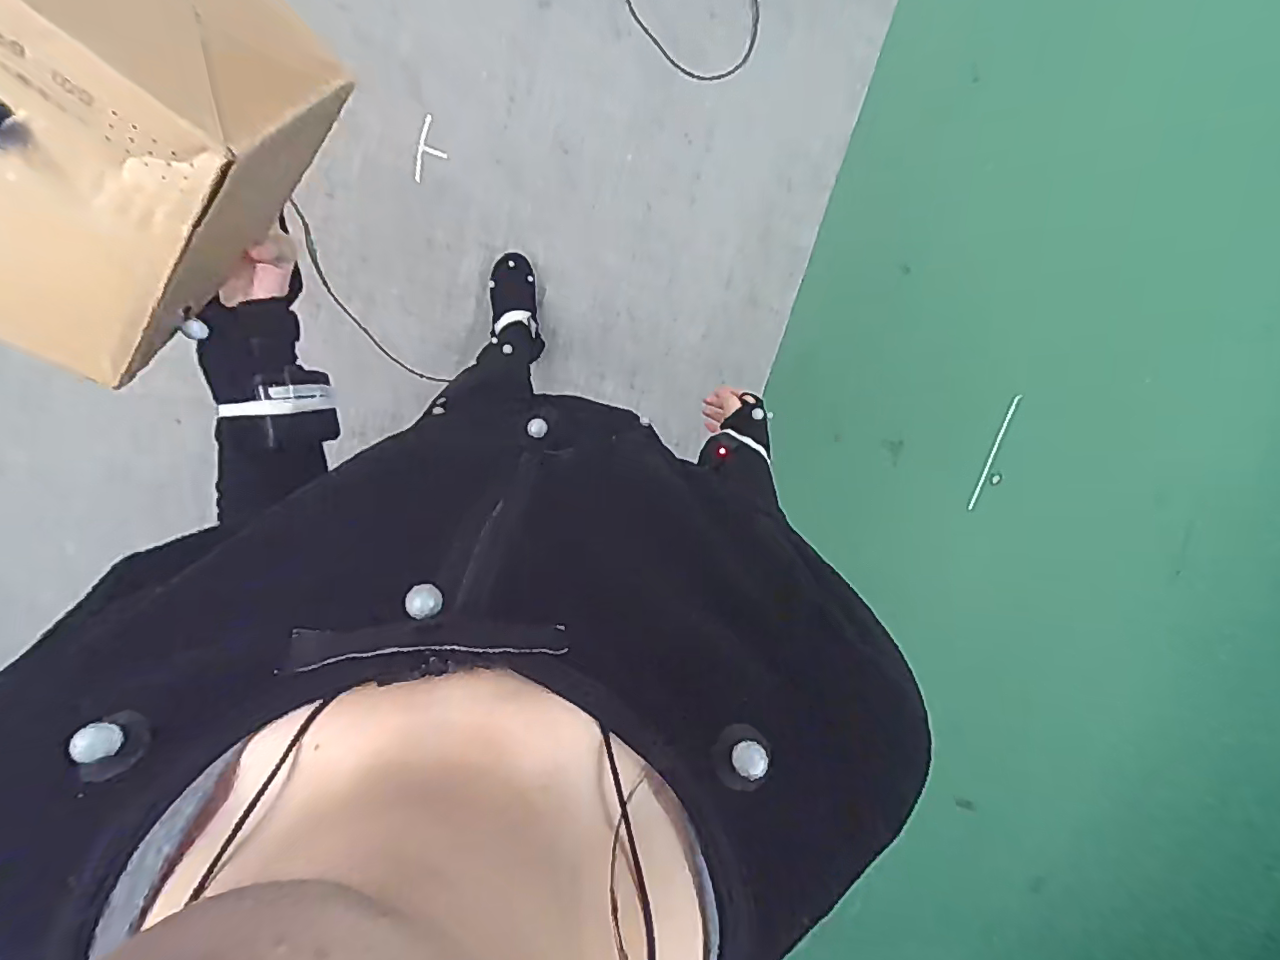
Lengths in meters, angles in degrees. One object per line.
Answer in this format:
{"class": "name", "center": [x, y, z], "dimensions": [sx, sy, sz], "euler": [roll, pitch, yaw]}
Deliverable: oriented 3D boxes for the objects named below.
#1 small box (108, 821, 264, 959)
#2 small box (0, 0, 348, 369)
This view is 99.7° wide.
{"class": "small box", "center": [-0.854, 0.785, 1.020], "dimensions": [0.179, 0.176, 0.168], "euler": [19, 98, -13]}
{"class": "small box", "center": [-0.279, -0.197, 0.265], "dimensions": [0.176, 0.179, 0.168], "euler": [-35, 129, 27]}
